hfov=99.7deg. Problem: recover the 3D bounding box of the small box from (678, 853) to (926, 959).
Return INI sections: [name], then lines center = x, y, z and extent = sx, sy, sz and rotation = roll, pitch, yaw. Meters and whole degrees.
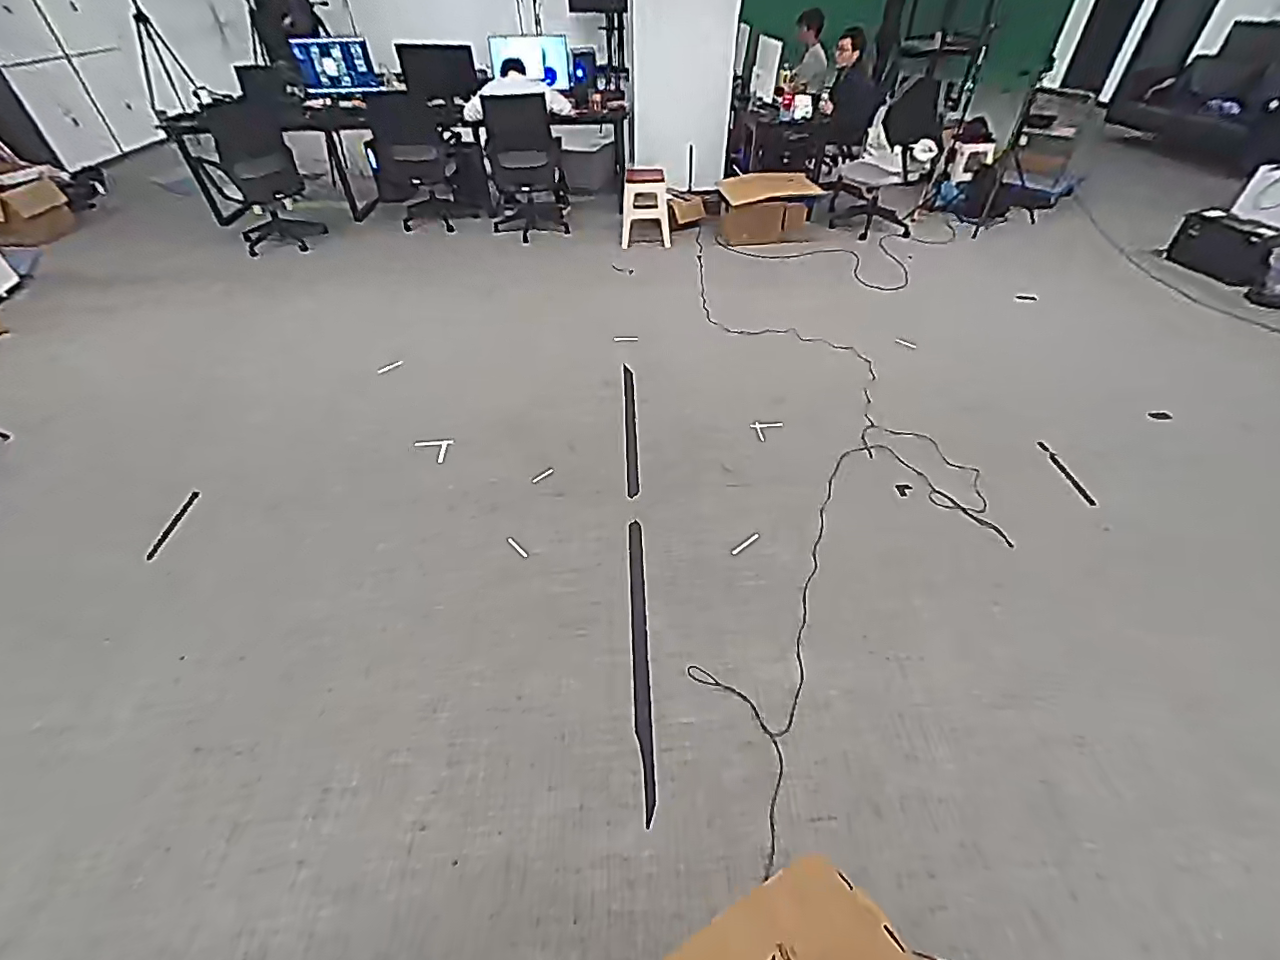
[small box]
center = 0.157, 0.464, 0.433
extent = 0.179, 0.168, 0.176
rotation = -26, 87, -11
